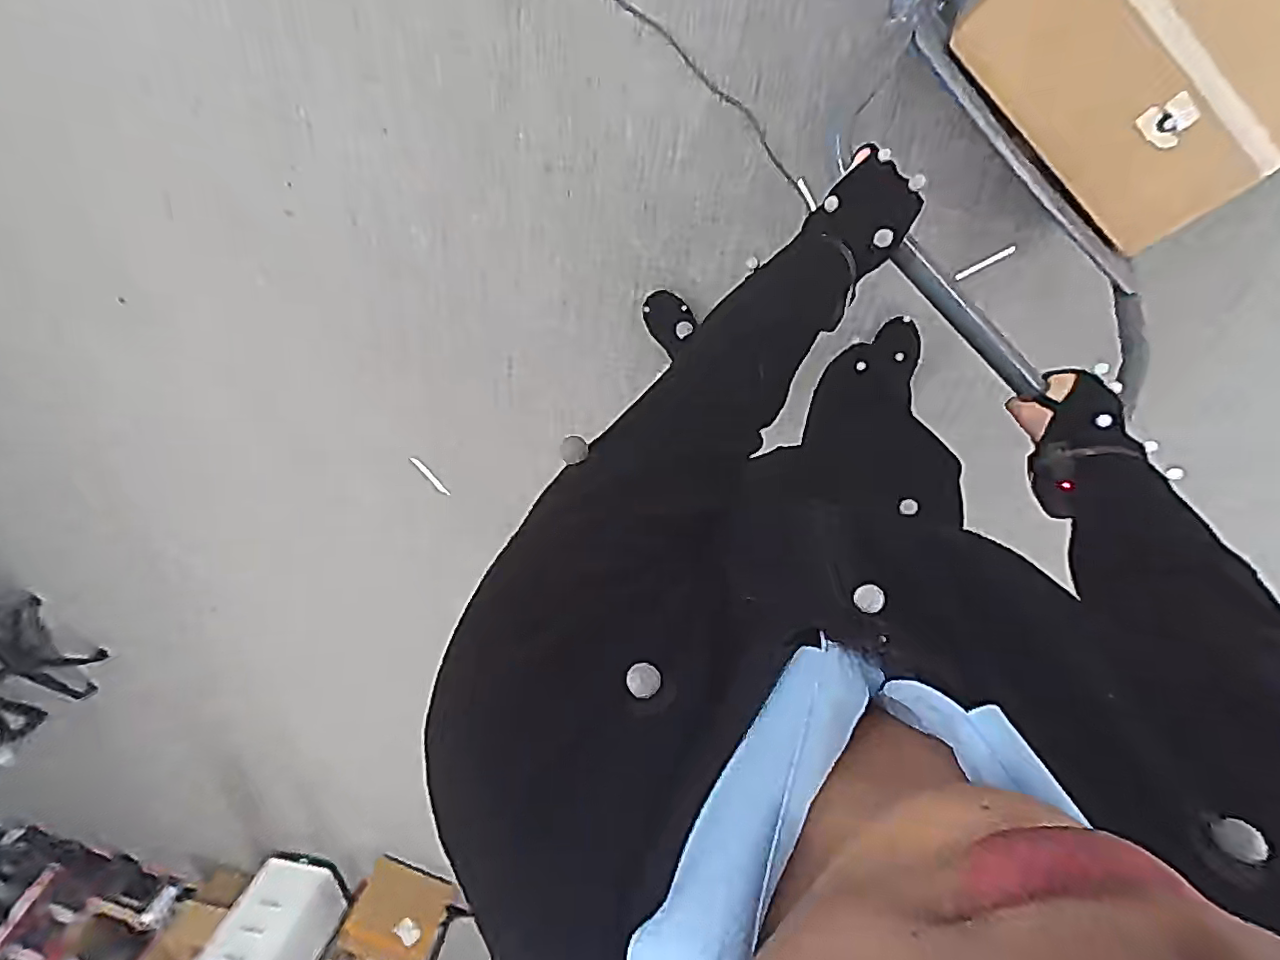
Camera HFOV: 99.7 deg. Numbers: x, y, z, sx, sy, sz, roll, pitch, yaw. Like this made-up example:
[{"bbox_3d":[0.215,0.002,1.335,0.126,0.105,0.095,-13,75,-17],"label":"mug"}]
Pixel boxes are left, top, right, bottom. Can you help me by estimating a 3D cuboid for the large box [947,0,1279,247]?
[{"bbox_3d":[0.692,-0.622,0.738,0.408,0.320,0.320,39,141,-11],"label":"large box"}]
